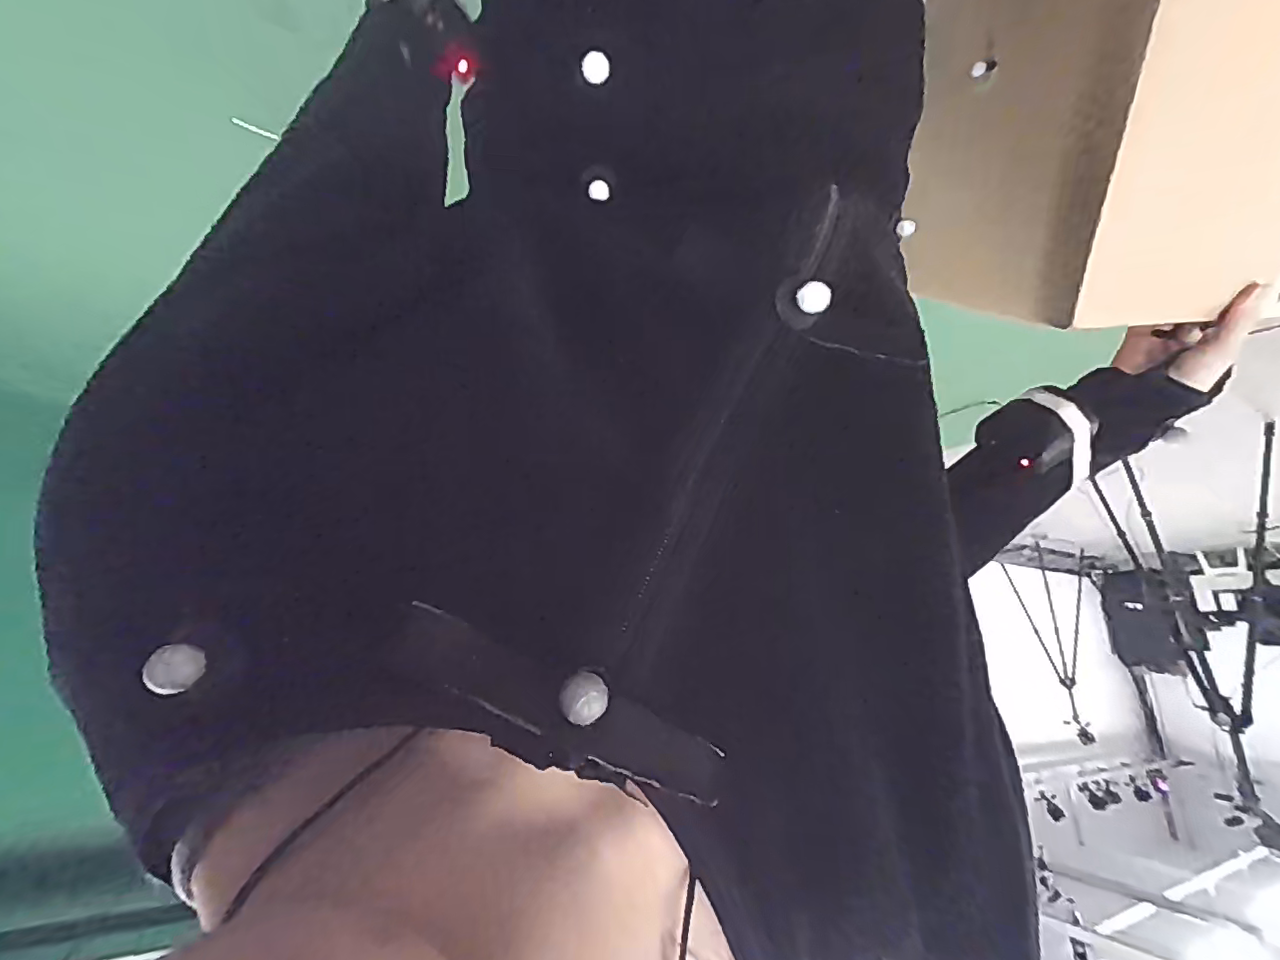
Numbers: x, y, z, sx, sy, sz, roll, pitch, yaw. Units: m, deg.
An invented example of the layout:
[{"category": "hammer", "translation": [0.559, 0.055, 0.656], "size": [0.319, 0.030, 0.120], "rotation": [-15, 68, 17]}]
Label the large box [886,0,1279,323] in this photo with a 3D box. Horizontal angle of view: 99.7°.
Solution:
[{"category": "large box", "translation": [0.459, -0.377, 0.485], "size": [0.320, 0.408, 0.320], "rotation": [-4, -154, -2]}]
